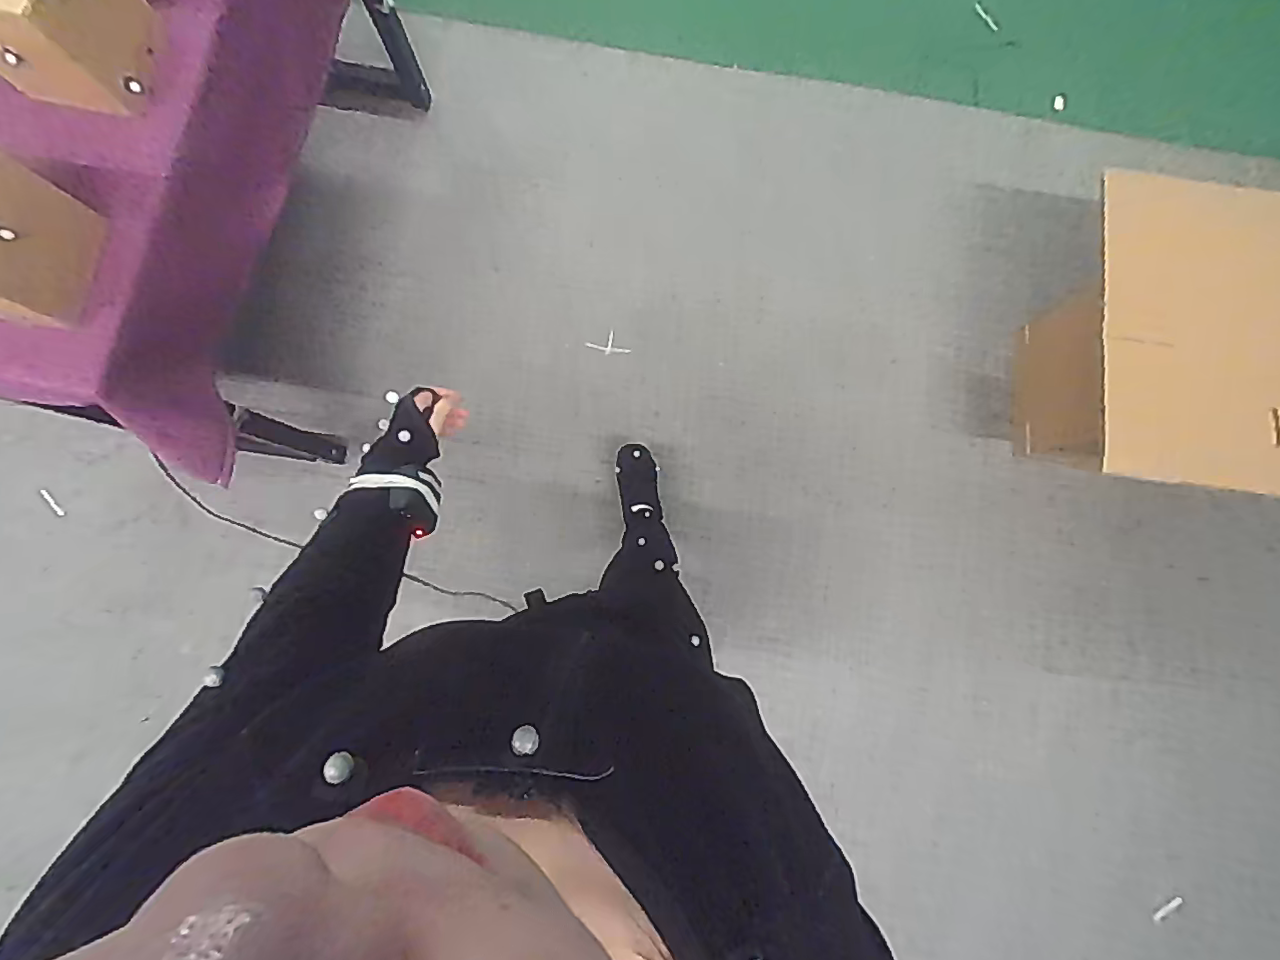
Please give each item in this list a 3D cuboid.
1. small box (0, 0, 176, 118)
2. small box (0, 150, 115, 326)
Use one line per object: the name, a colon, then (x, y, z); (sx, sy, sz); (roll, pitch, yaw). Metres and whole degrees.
small box: (-0.837, -0.668, 0.783); (0.179, 0.176, 0.168); (11, 81, 1)
small box: (-0.880, -0.329, 0.732); (0.168, 0.176, 0.179); (10, 81, 0)
